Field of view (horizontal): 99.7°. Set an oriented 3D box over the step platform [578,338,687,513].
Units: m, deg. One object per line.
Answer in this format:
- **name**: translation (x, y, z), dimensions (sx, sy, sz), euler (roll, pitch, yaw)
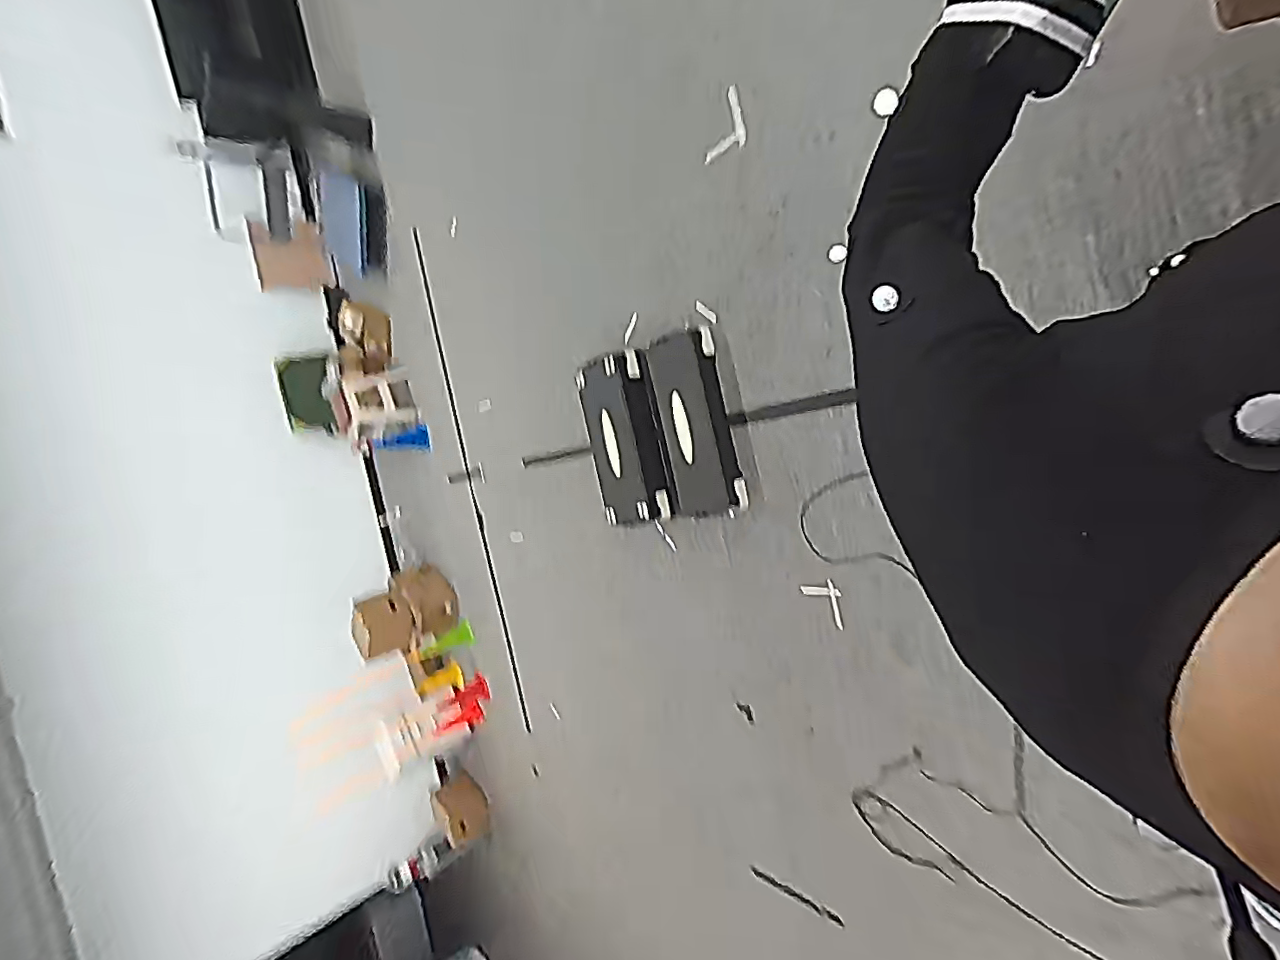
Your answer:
- **step platform**: translation (-0.038, -0.210, 2.159), dimensions (0.286, 0.204, 0.684), euler (-11, 91, 49)
